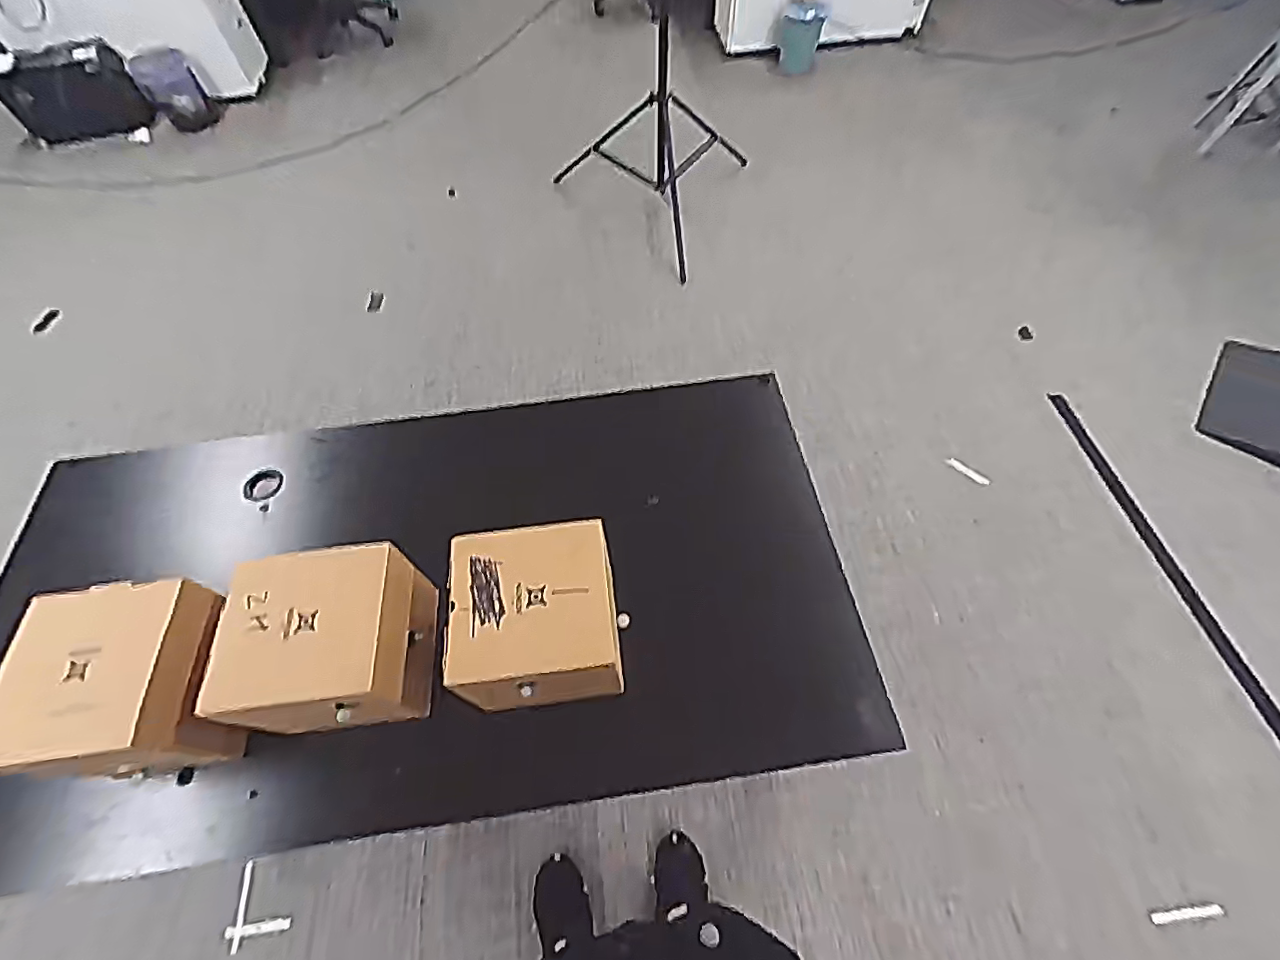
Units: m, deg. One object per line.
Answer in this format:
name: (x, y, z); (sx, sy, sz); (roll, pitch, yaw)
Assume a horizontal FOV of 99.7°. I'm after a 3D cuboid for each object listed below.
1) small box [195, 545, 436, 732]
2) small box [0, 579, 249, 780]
small box: (-0.357, 0.193, 0.639); (0.179, 0.176, 0.168); (-7, 59, -2)
small box: (-0.572, 0.234, 0.623); (0.168, 0.176, 0.179); (-9, 60, -2)
